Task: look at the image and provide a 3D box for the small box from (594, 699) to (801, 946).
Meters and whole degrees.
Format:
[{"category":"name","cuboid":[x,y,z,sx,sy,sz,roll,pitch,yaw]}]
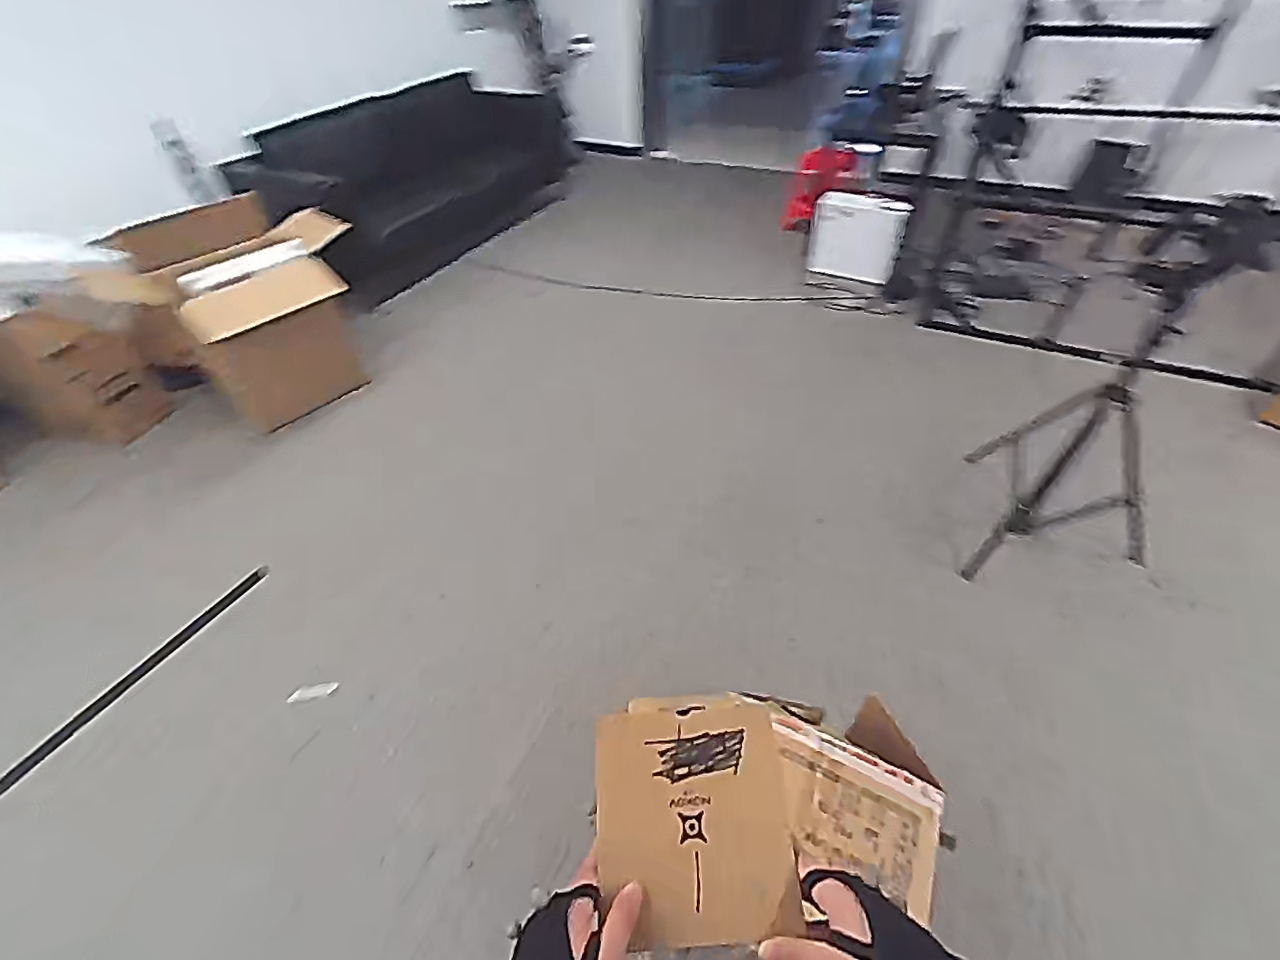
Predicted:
[{"category":"small box","cuboid":[0.039,0.329,0.534,0.168,0.176,0.179,-3,57,-3]}]
